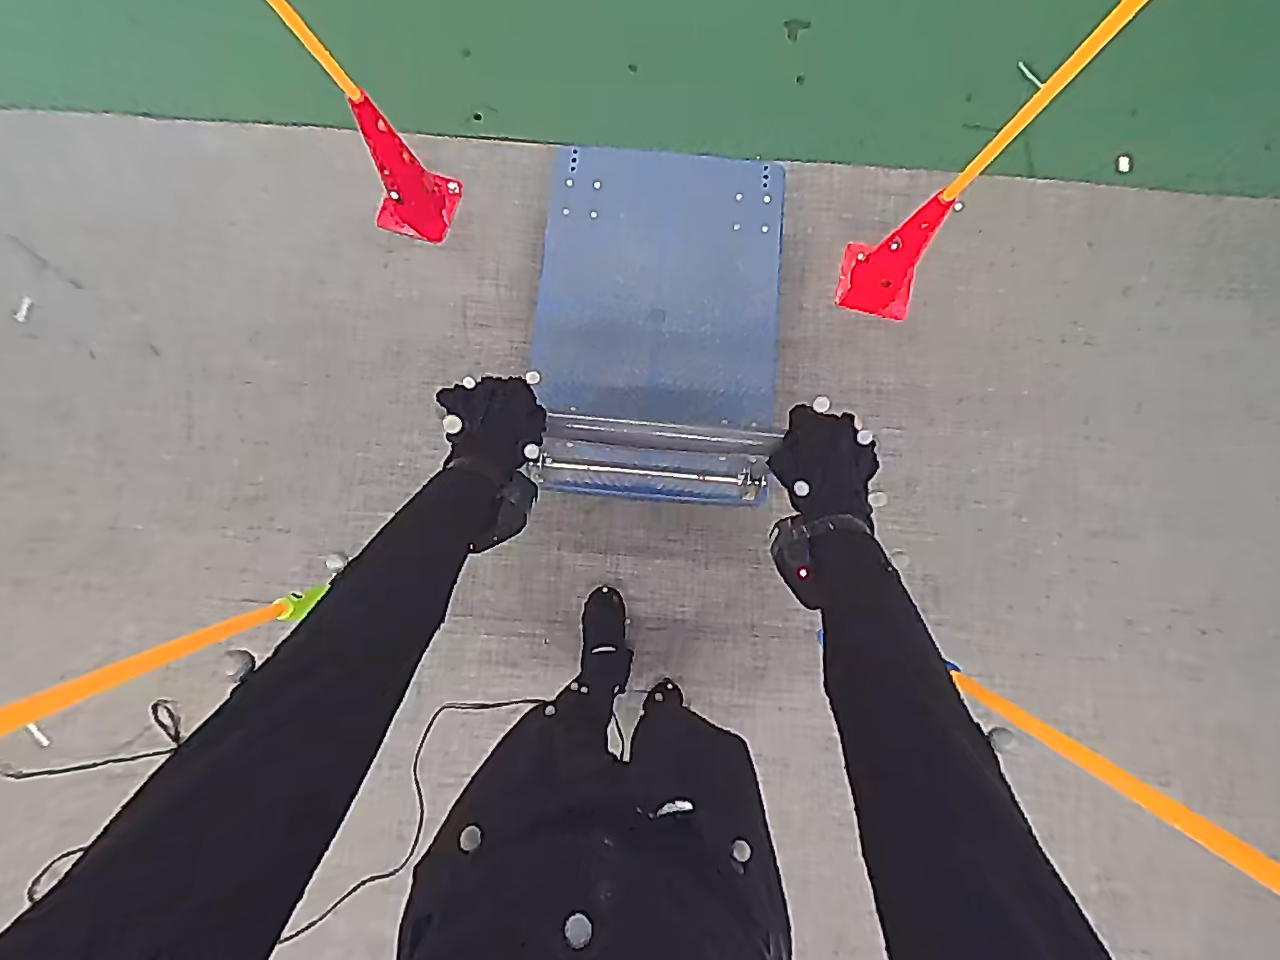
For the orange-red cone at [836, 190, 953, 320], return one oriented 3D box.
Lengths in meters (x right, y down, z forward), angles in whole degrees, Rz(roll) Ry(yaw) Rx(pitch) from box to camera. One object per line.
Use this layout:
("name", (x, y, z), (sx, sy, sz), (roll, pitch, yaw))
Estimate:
("orange-red cone", (0.656, -0.576, 1.332), (0.198, 0.360, 0.199), (15, 81, 2))
